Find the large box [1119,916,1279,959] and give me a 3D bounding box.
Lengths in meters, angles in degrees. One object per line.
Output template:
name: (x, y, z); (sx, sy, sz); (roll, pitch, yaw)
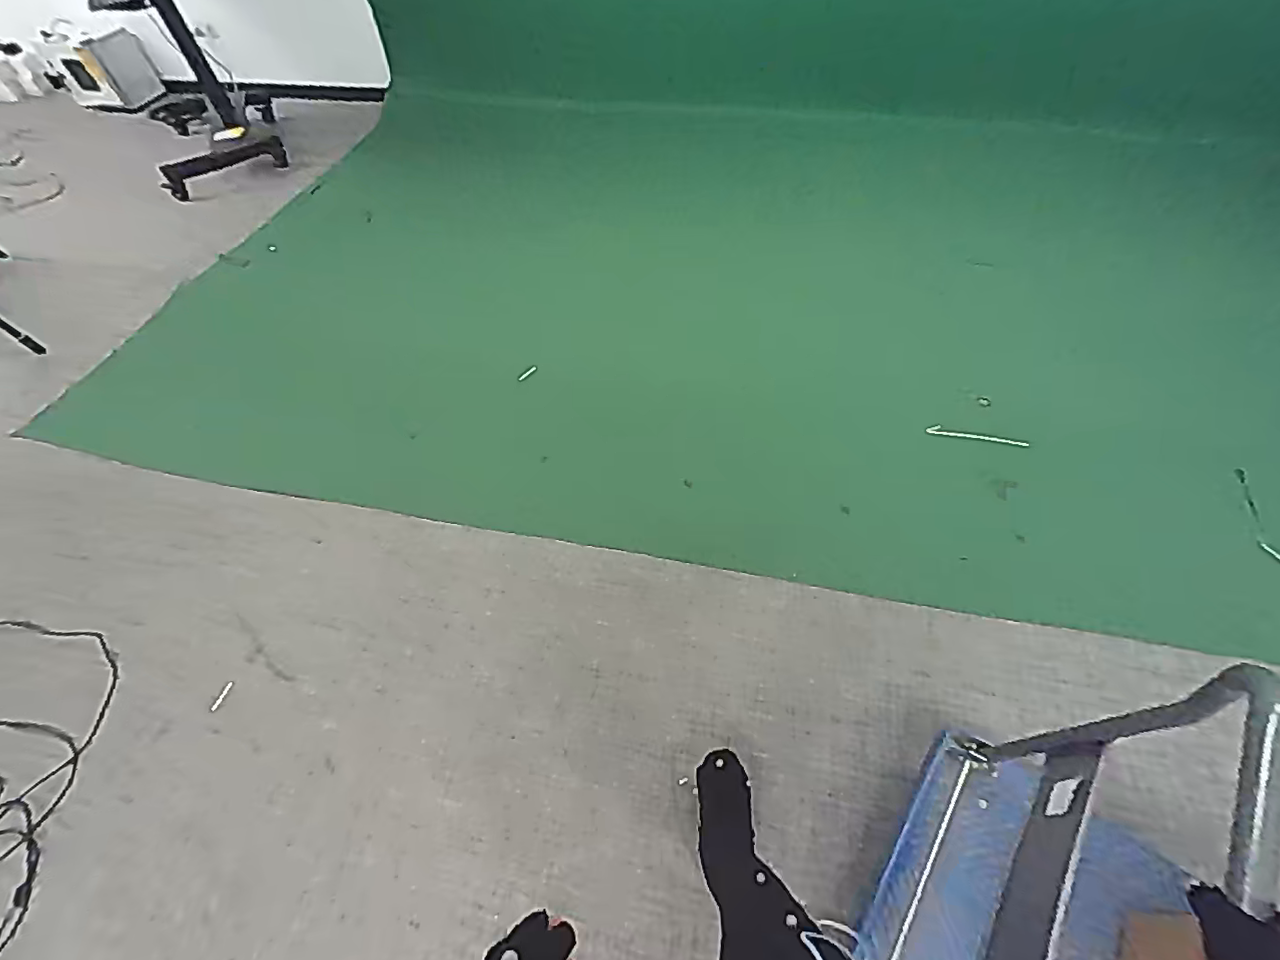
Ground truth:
large box: (0.868, 0.879, 0.692); (0.320, 0.320, 0.408); (28, 59, 20)
